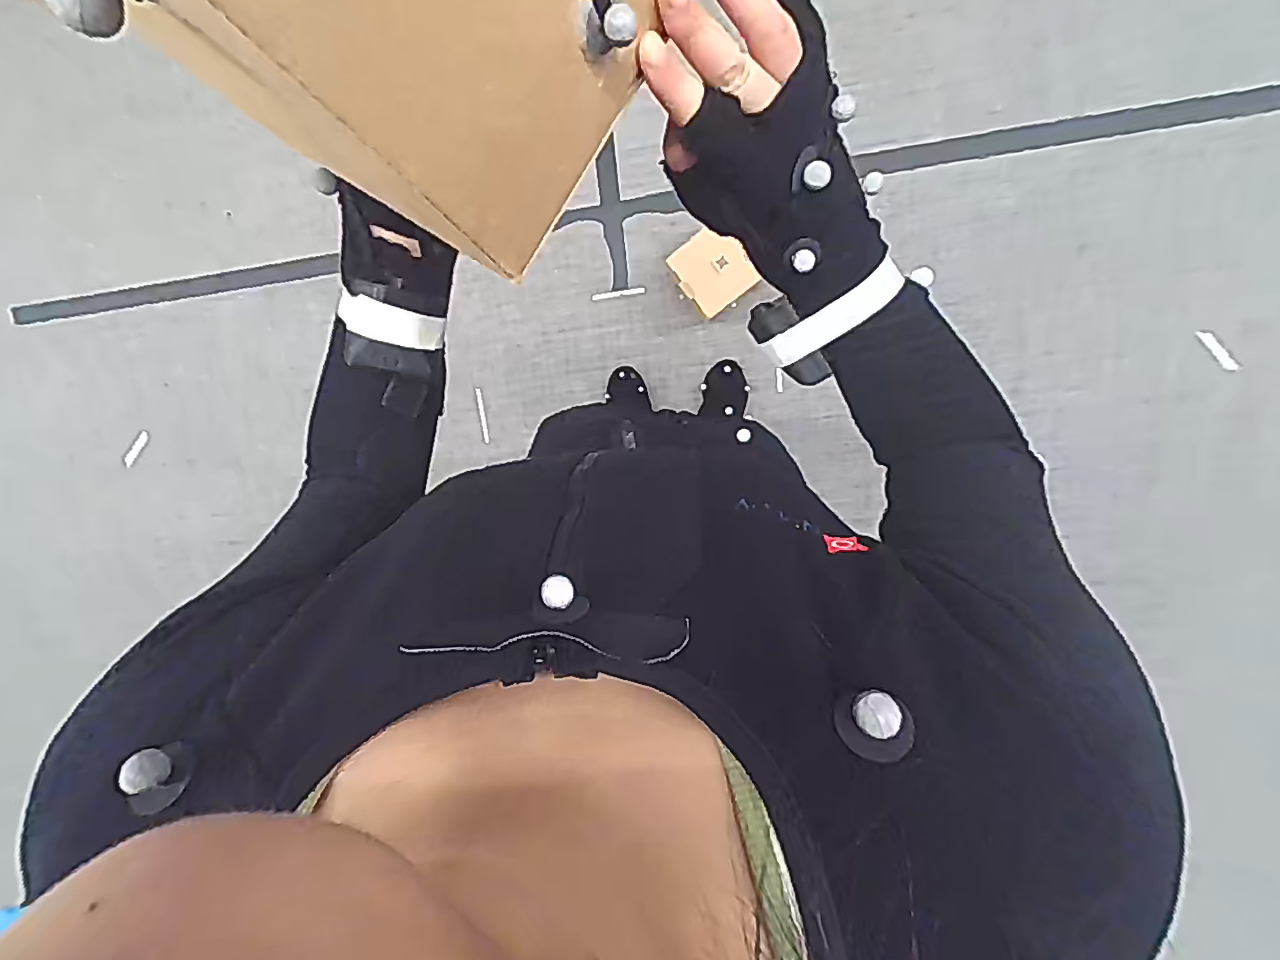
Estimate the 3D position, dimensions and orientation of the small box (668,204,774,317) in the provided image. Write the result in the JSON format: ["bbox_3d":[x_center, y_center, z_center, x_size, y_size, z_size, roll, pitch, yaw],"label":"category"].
[{"bbox_3d":[0.187,-0.500,1.265,0.179,0.176,0.168,-38,97,13],"label":"small box"}]

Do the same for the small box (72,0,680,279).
[{"bbox_3d":[-0.097,-0.206,0.173,0.168,0.176,0.179,34,95,15],"label":"small box"}]
